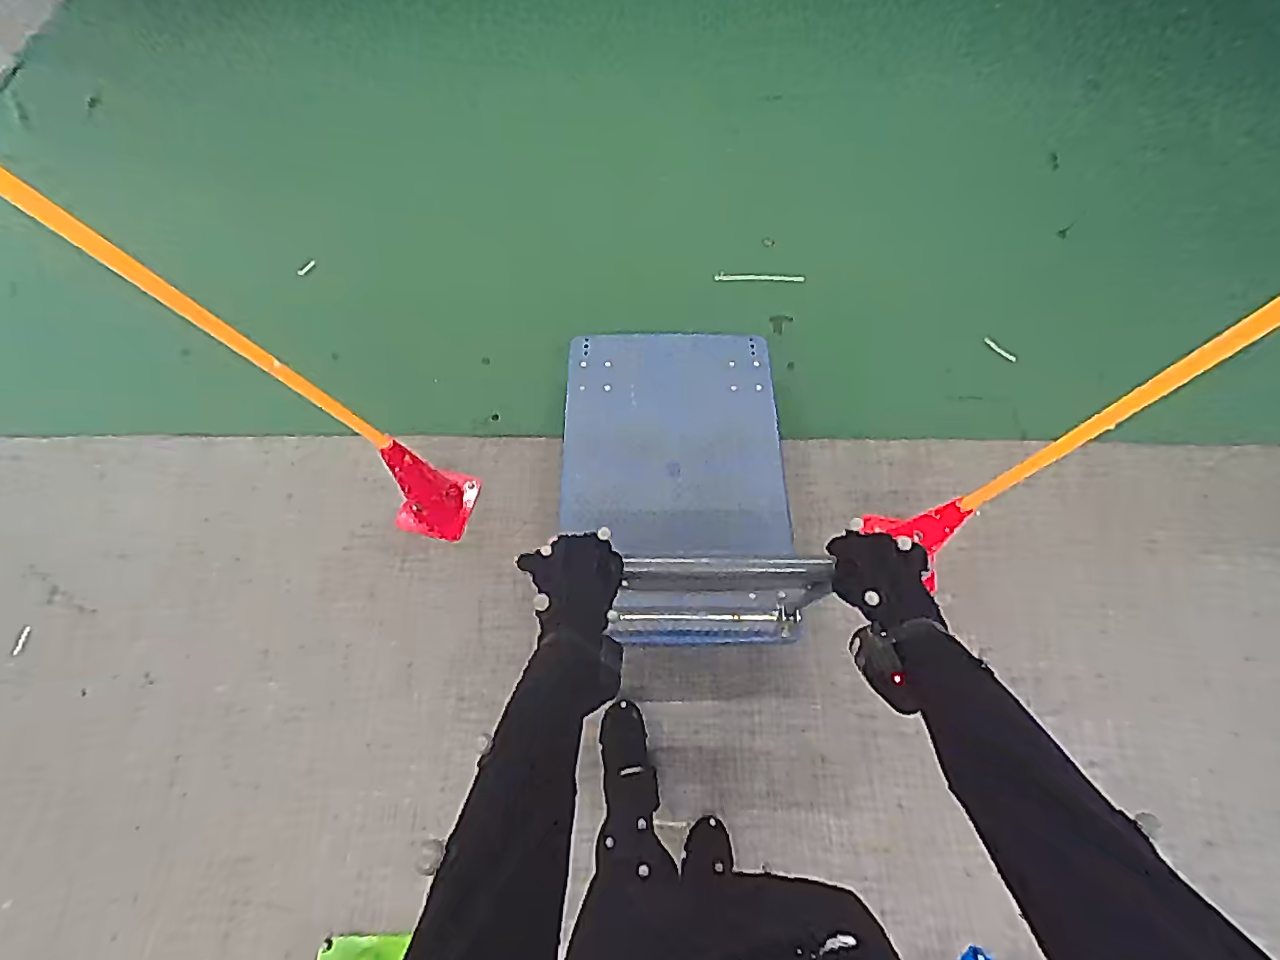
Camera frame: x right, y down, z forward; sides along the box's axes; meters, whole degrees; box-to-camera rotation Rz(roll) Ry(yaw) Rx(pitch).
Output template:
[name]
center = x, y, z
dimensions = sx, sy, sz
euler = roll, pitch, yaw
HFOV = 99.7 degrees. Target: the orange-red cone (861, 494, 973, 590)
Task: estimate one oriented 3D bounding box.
[orange-red cone]
center = 0.702, 0.121, 1.317
dimensions = 0.198, 0.360, 0.199
euler = 10, 67, 6
